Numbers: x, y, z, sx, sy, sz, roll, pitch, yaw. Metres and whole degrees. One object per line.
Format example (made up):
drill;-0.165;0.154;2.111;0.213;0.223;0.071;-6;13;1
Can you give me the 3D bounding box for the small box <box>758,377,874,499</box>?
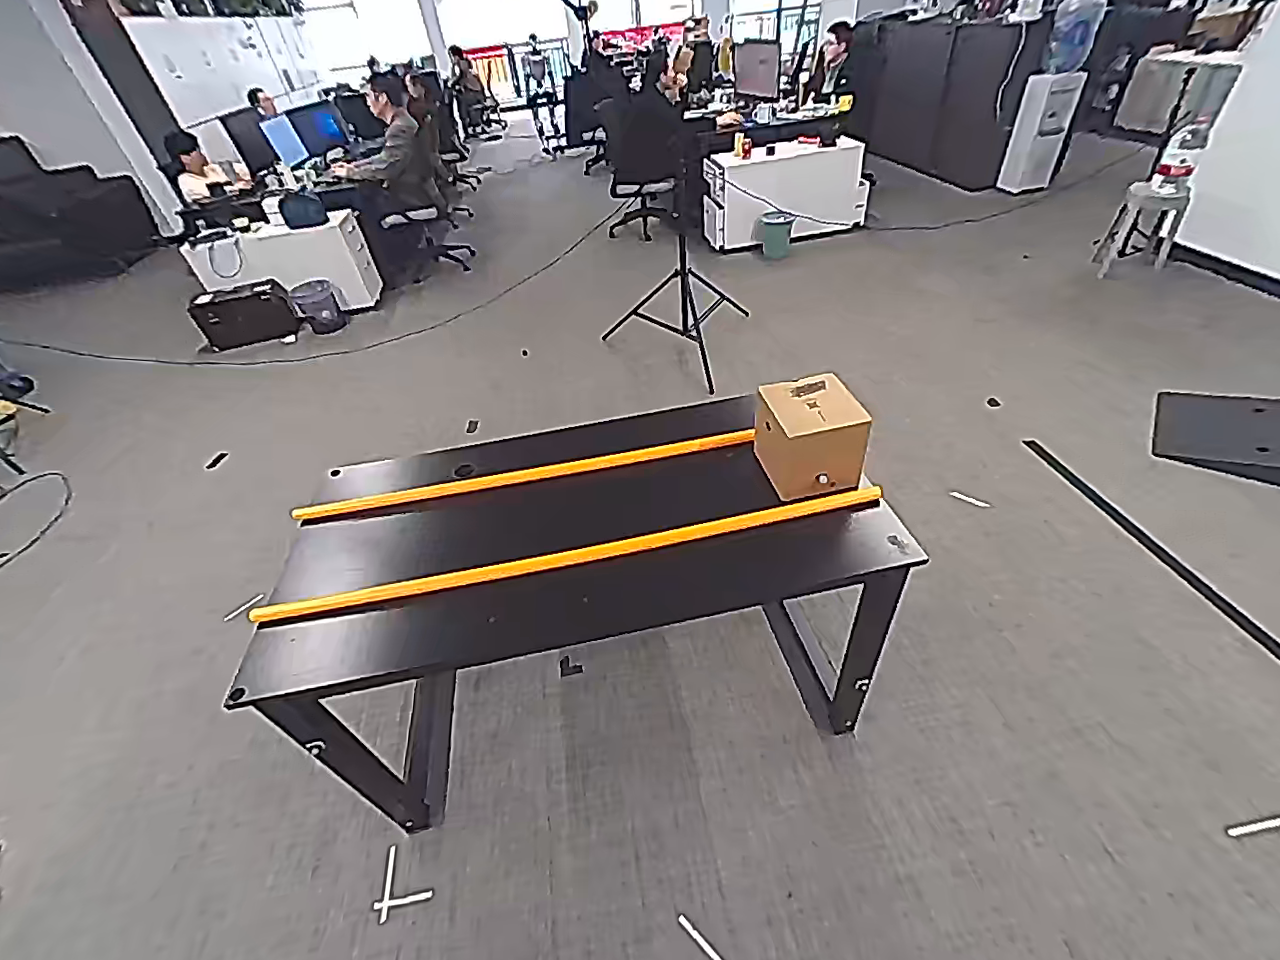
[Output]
small box;0.348;-0.086;1.111;0.168;0.176;0.179;-11;42;-3
